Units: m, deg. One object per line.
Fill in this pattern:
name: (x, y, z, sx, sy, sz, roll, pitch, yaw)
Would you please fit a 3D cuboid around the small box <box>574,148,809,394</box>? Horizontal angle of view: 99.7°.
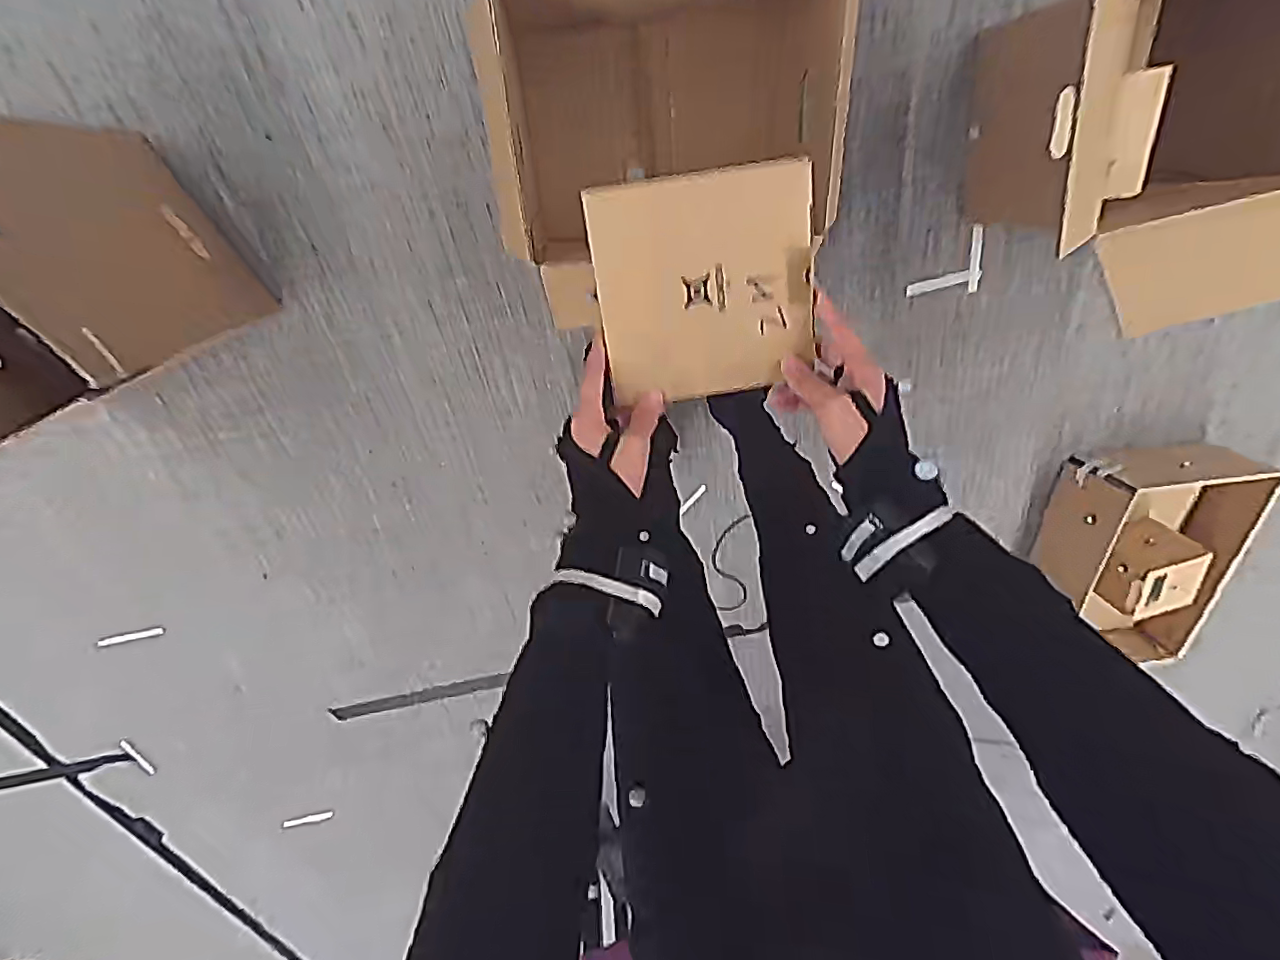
small box: (0.042, -0.188, 0.501, 0.179, 0.176, 0.168, -9, 113, -1)
